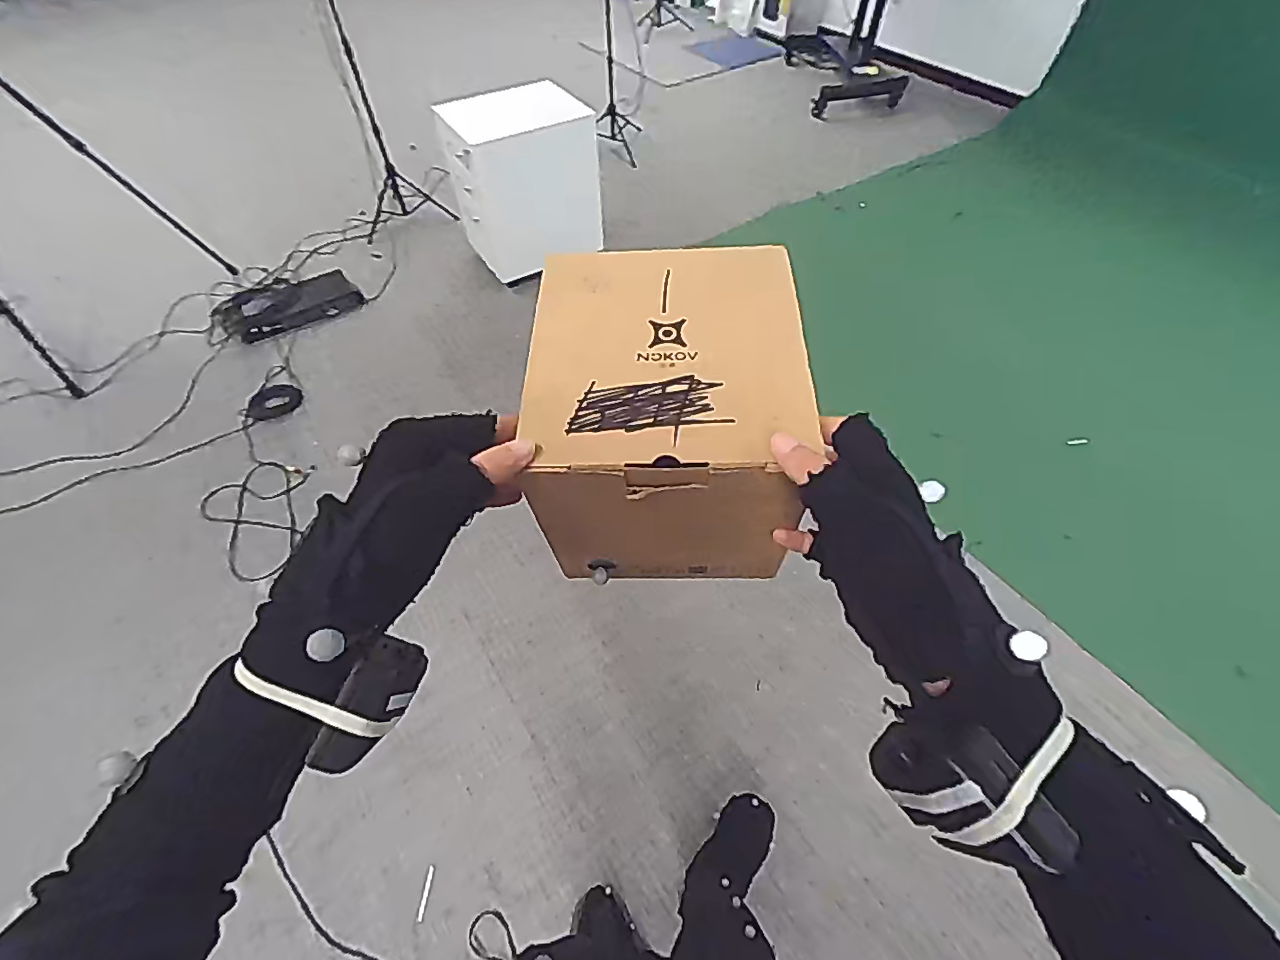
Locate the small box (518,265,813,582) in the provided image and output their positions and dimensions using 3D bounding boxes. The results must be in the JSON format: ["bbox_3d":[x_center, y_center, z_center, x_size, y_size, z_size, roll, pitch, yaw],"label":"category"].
[{"bbox_3d":[0.021,-0.032,0.403,0.168,0.176,0.179,0,58,4],"label":"small box"}]
